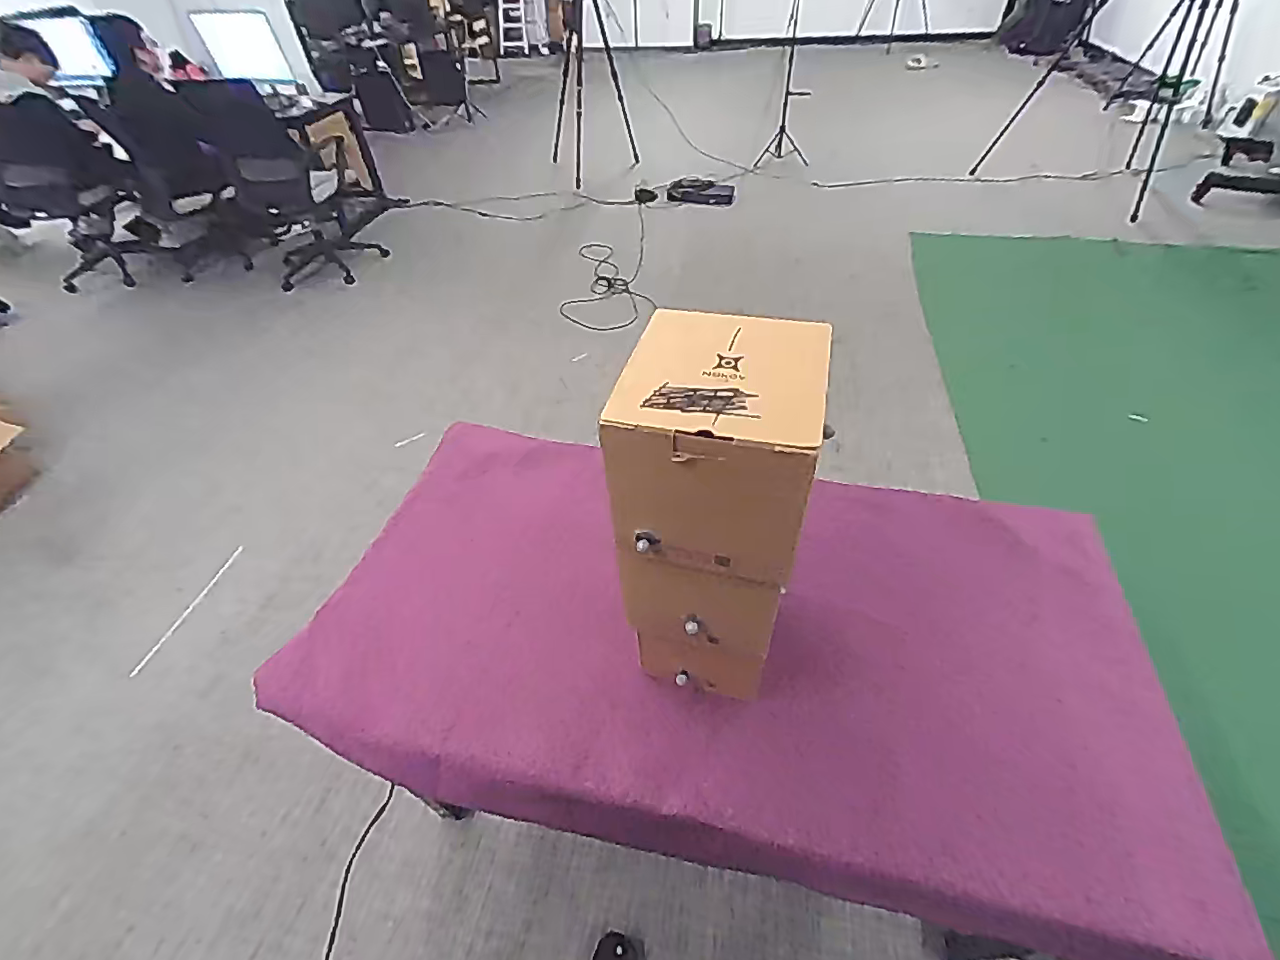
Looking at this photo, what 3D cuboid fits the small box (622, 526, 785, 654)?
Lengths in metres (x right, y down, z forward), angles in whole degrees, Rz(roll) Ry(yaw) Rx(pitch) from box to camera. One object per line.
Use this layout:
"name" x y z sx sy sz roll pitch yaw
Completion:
"small box" 0.085 0.073 0.634 0.168 0.176 0.179 9 47 14

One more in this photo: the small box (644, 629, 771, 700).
"small box" 0.102 0.176 0.760 0.168 0.176 0.179 10 48 15

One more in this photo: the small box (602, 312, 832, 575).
"small box" 0.078 -0.035 0.510 0.168 0.176 0.179 10 47 14
